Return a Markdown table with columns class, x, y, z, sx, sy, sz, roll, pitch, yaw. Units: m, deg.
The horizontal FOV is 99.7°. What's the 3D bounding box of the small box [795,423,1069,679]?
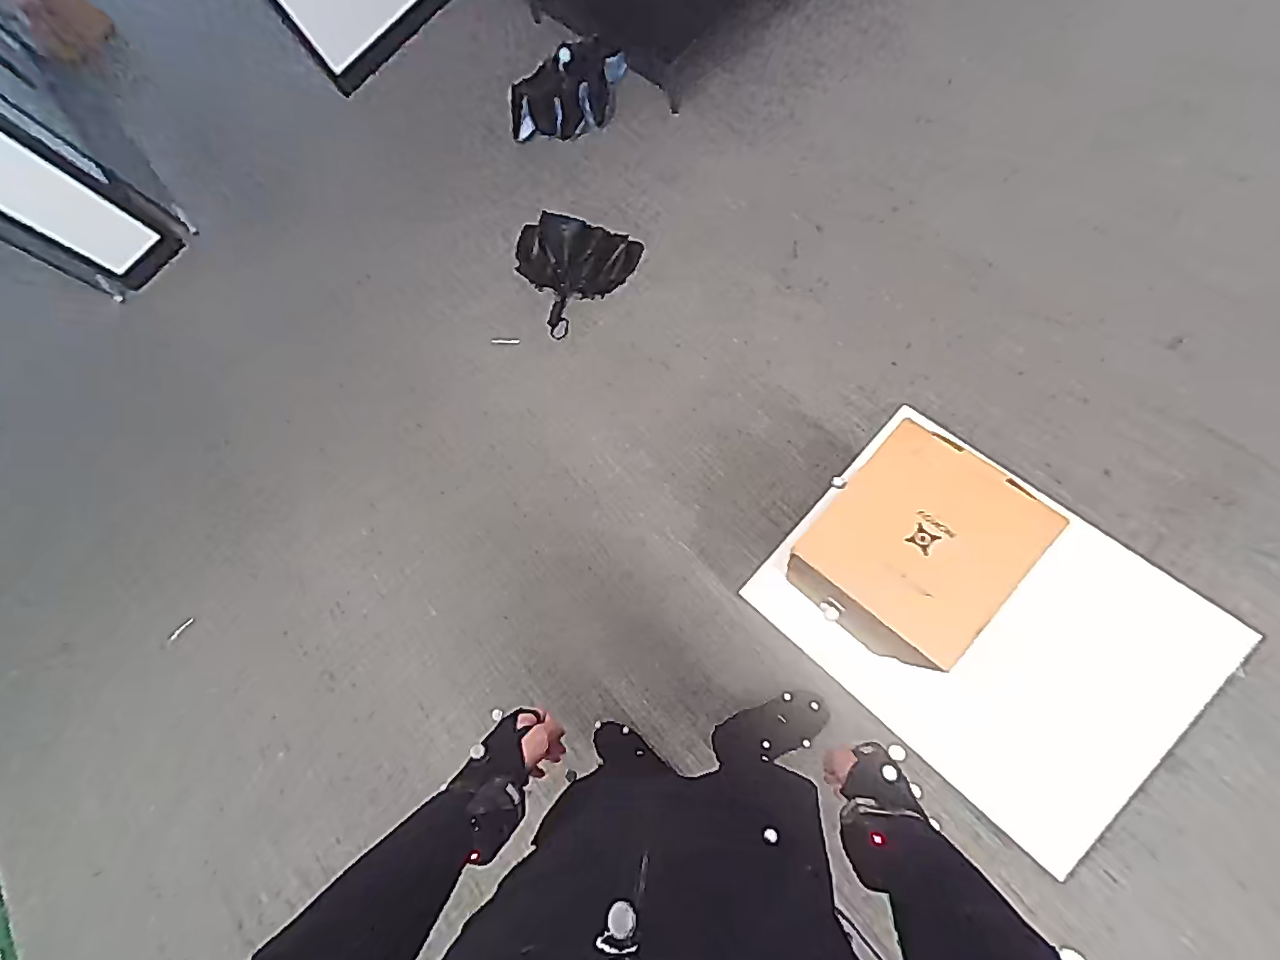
| class | x | y | z | sx | sy | sz | roll | pitch | yaw |
| --- | --- | --- | --- | --- | --- | --- | --- | --- | --- |
| small box | 0.276 | 0.077 | 0.563 | 0.168 | 0.176 | 0.179 | 40 | 88 | 22 |
